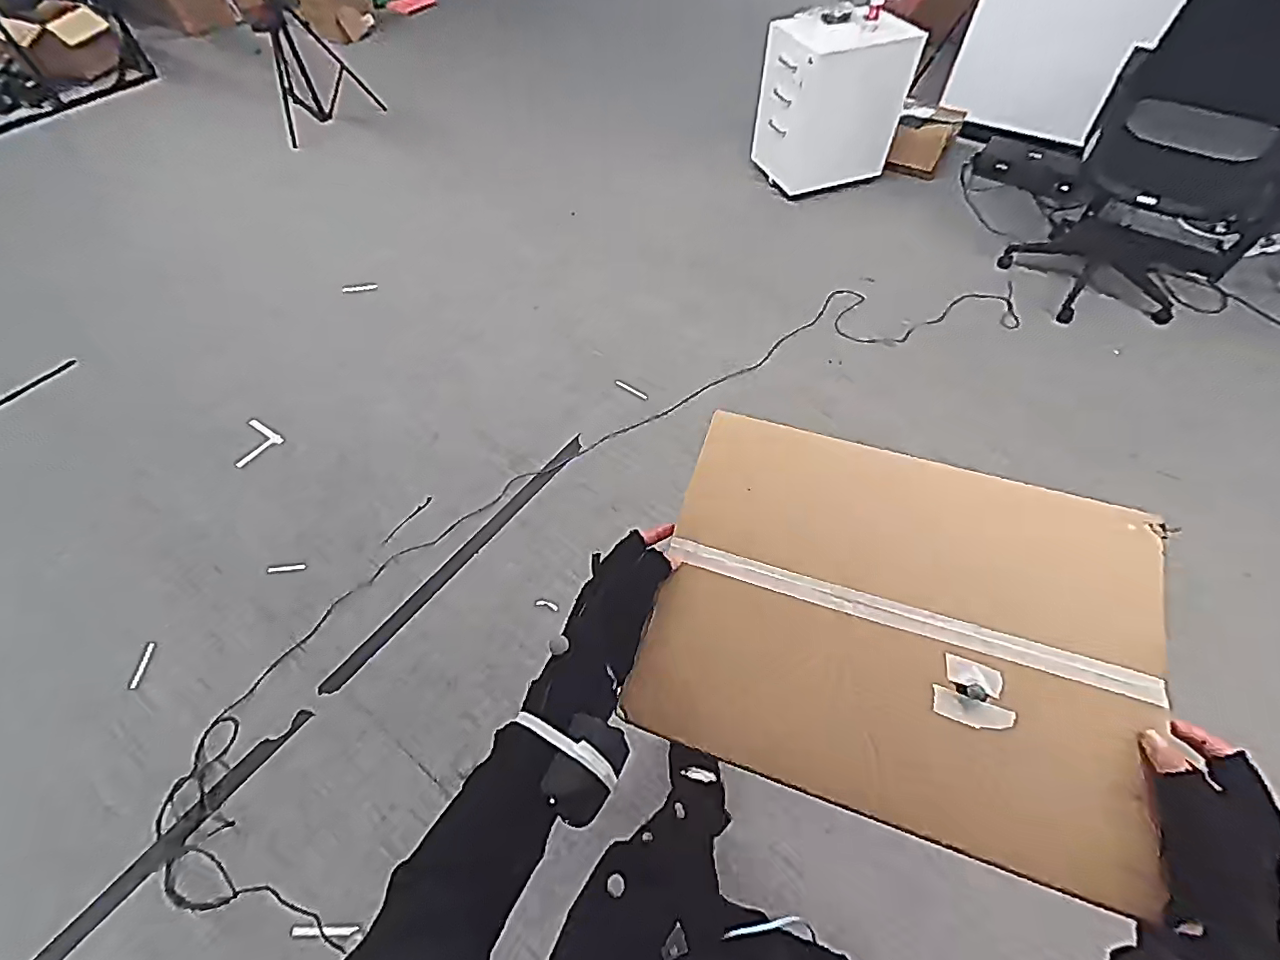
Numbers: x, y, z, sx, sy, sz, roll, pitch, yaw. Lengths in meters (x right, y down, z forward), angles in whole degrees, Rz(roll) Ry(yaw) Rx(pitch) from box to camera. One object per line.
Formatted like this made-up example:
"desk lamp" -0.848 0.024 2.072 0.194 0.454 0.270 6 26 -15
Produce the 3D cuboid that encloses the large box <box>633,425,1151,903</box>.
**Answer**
"large box" 0.239 0.182 0.616 0.408 0.320 0.320 16 69 13
